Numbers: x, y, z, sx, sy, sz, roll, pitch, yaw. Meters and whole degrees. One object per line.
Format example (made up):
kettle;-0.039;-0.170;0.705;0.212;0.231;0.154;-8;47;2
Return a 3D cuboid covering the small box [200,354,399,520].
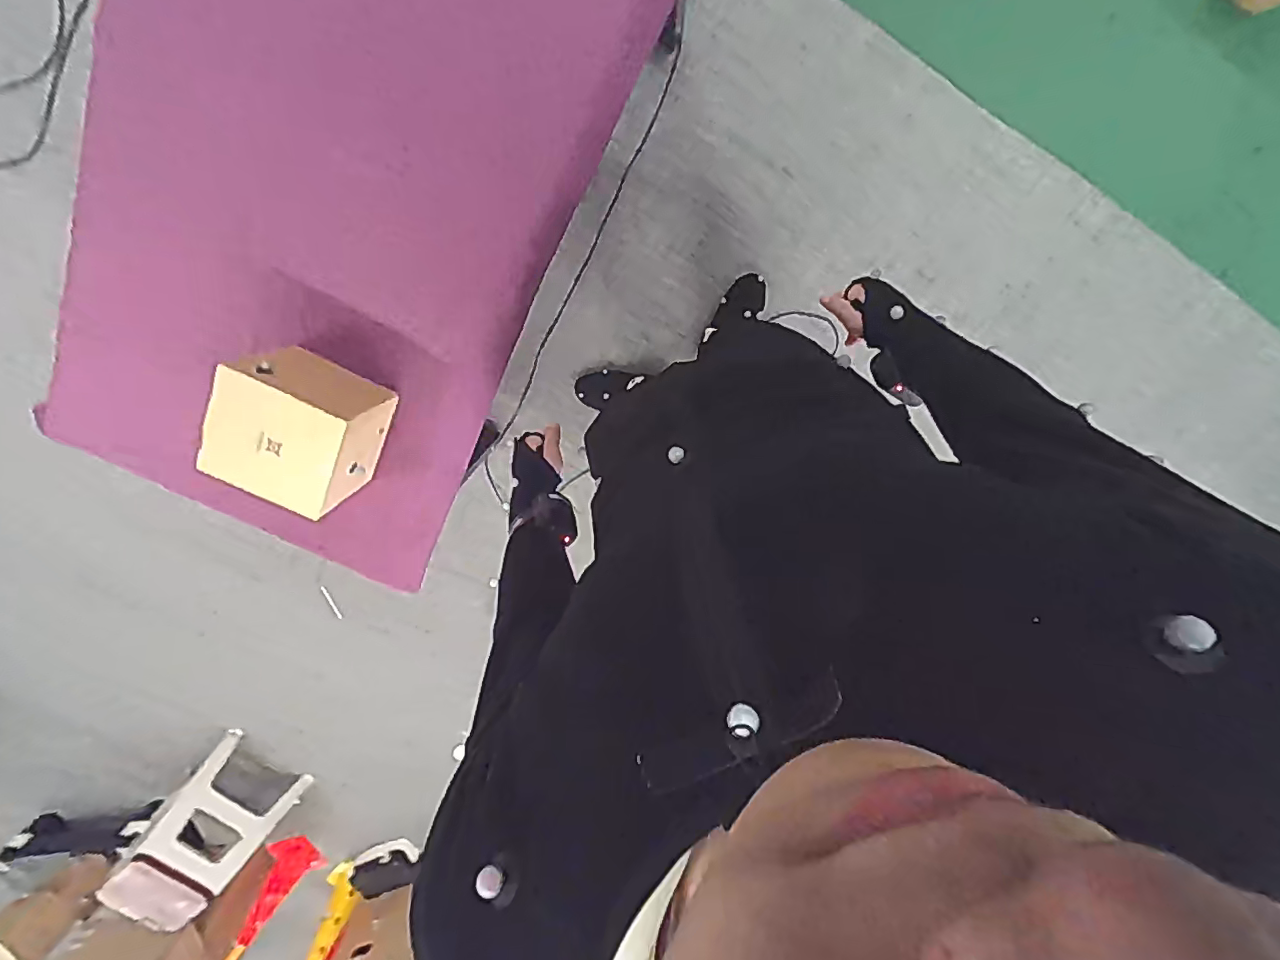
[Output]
small box;-0.494;-0.074;0.807;0.179;0.176;0.168;26;110;-7
